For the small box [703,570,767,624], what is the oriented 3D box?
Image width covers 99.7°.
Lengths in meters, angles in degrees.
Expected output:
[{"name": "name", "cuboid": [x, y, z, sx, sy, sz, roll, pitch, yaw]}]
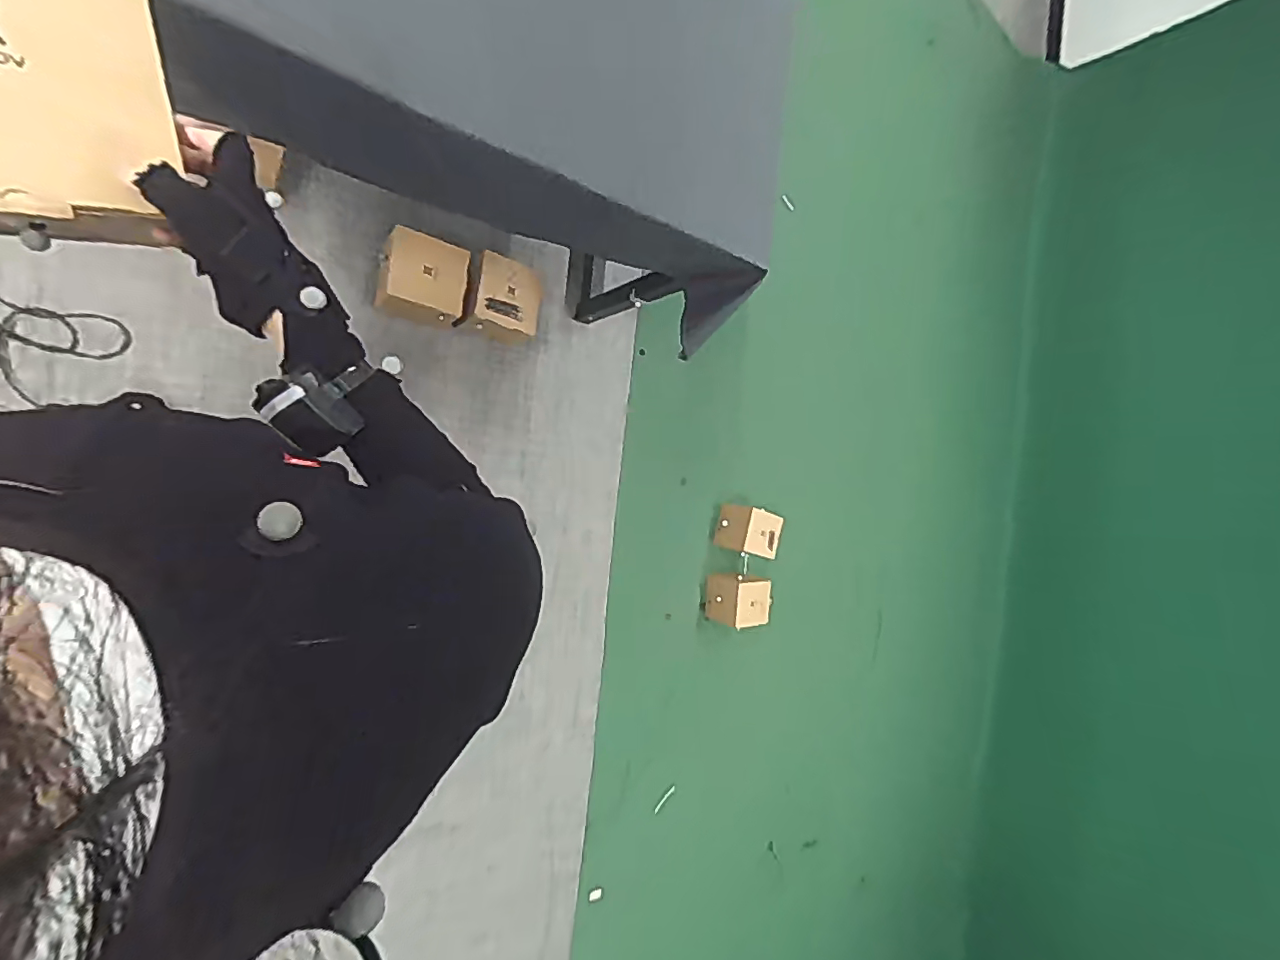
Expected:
[{"name": "small box", "cuboid": [0.360, 0.443, 2.065, 0.179, 0.176, 0.168, 4, 92, -36]}]

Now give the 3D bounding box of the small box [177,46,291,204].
[{"name": "small box", "cuboid": [-0.836, -0.711, 1.107, 0.168, 0.176, 0.179, 15, 84, -35]}]

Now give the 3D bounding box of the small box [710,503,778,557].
[{"name": "small box", "cuboid": [0.398, 0.187, 2.078, 0.179, 0.176, 0.168, 19, 81, -34]}]

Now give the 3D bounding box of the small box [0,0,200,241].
[{"name": "small box", "cuboid": [-0.414, -0.260, 0.350, 0.168, 0.176, 0.179, -16, 113, -42]}]
